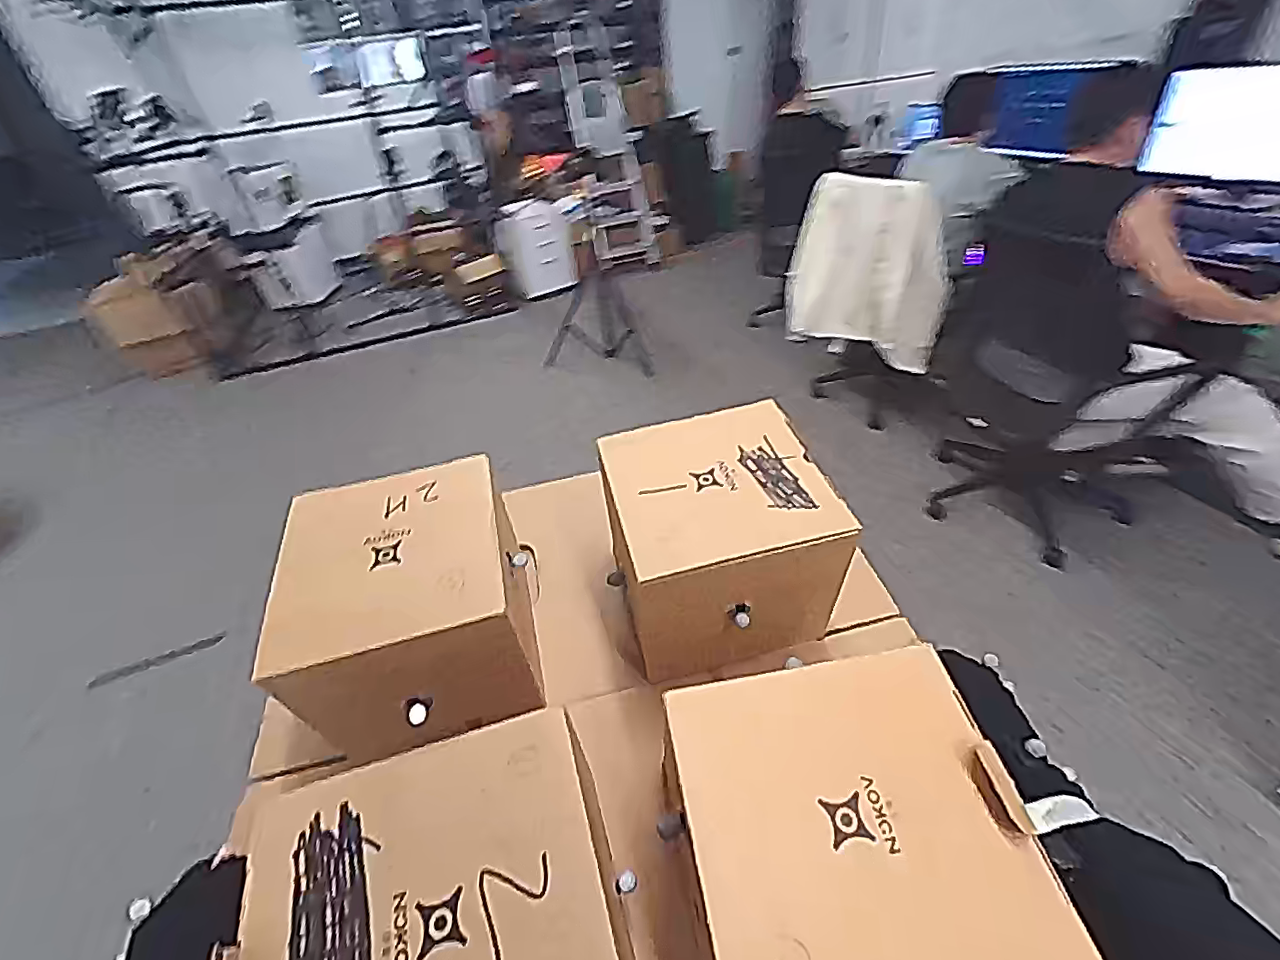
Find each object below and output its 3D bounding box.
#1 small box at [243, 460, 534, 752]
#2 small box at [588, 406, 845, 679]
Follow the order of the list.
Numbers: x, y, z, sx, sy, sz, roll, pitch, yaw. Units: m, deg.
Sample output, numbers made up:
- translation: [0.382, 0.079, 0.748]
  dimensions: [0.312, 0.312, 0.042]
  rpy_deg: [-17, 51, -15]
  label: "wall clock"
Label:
- translation: [-0.197, 0.114, 0.474]
  dimensions: [0.168, 0.176, 0.179]
  rpy_deg: [-13, 45, -9]
  label: "small box"
- translation: [0.059, 0.059, 0.507]
  dimensions: [0.179, 0.176, 0.168]
  rpy_deg: [-13, 46, -7]
  label: "small box"
